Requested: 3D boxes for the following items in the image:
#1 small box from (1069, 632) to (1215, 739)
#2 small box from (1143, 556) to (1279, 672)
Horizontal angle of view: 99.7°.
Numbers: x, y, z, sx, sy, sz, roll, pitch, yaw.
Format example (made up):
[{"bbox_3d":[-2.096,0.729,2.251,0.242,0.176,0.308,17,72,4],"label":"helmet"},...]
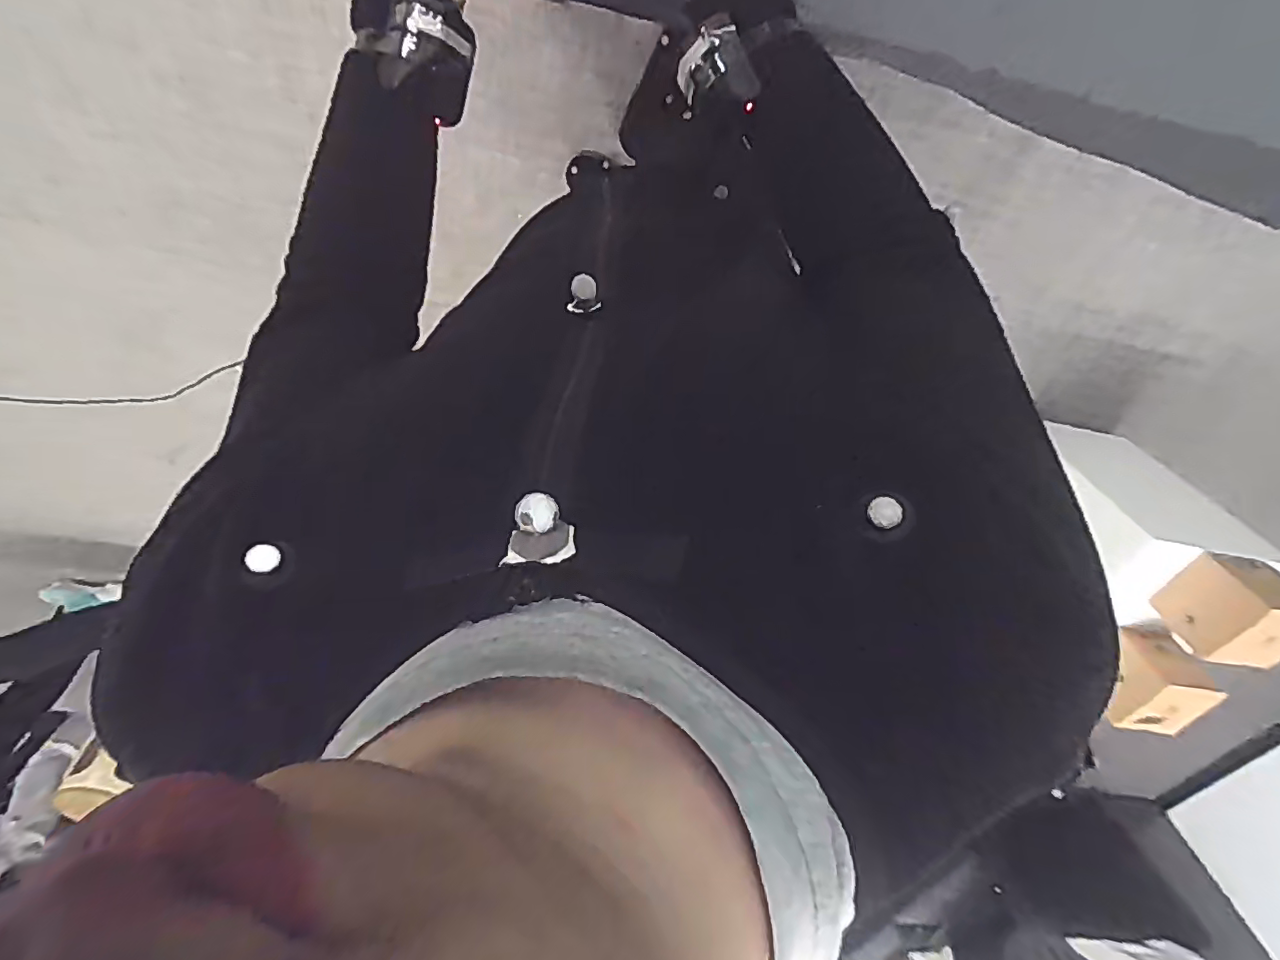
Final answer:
[{"bbox_3d":[1.224,0.508,1.341,0.168,0.176,0.179,10,123,-9],"label":"small box"},{"bbox_3d":[1.283,0.296,1.193,0.168,0.176,0.179,8,125,-8],"label":"small box"}]
